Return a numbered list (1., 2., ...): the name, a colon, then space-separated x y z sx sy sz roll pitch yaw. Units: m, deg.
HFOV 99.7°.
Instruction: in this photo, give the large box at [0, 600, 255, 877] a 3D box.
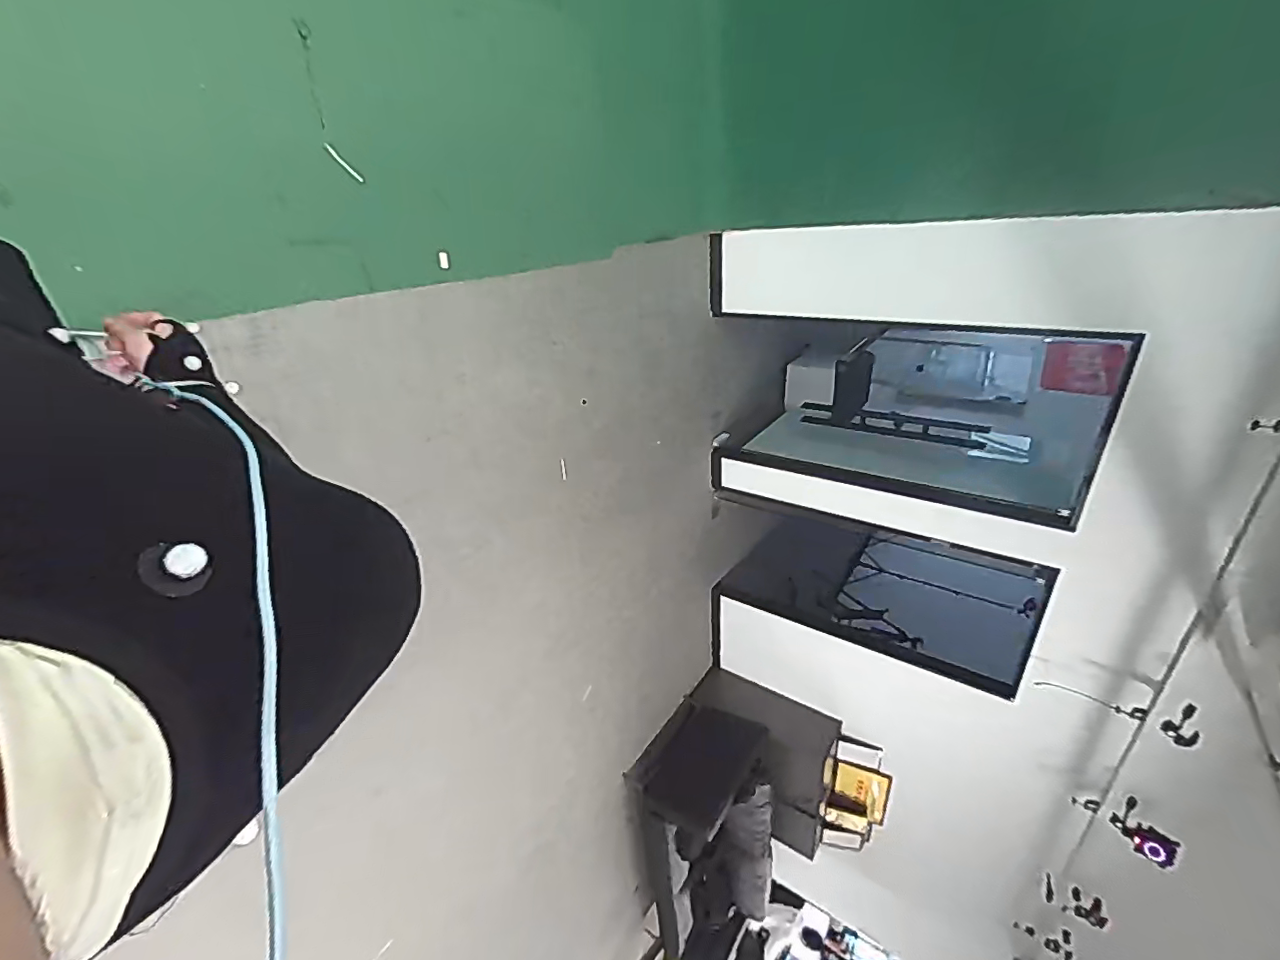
1. large box: -1.205 0.544 1.217 0.408 0.320 0.320 -37 131 -45
